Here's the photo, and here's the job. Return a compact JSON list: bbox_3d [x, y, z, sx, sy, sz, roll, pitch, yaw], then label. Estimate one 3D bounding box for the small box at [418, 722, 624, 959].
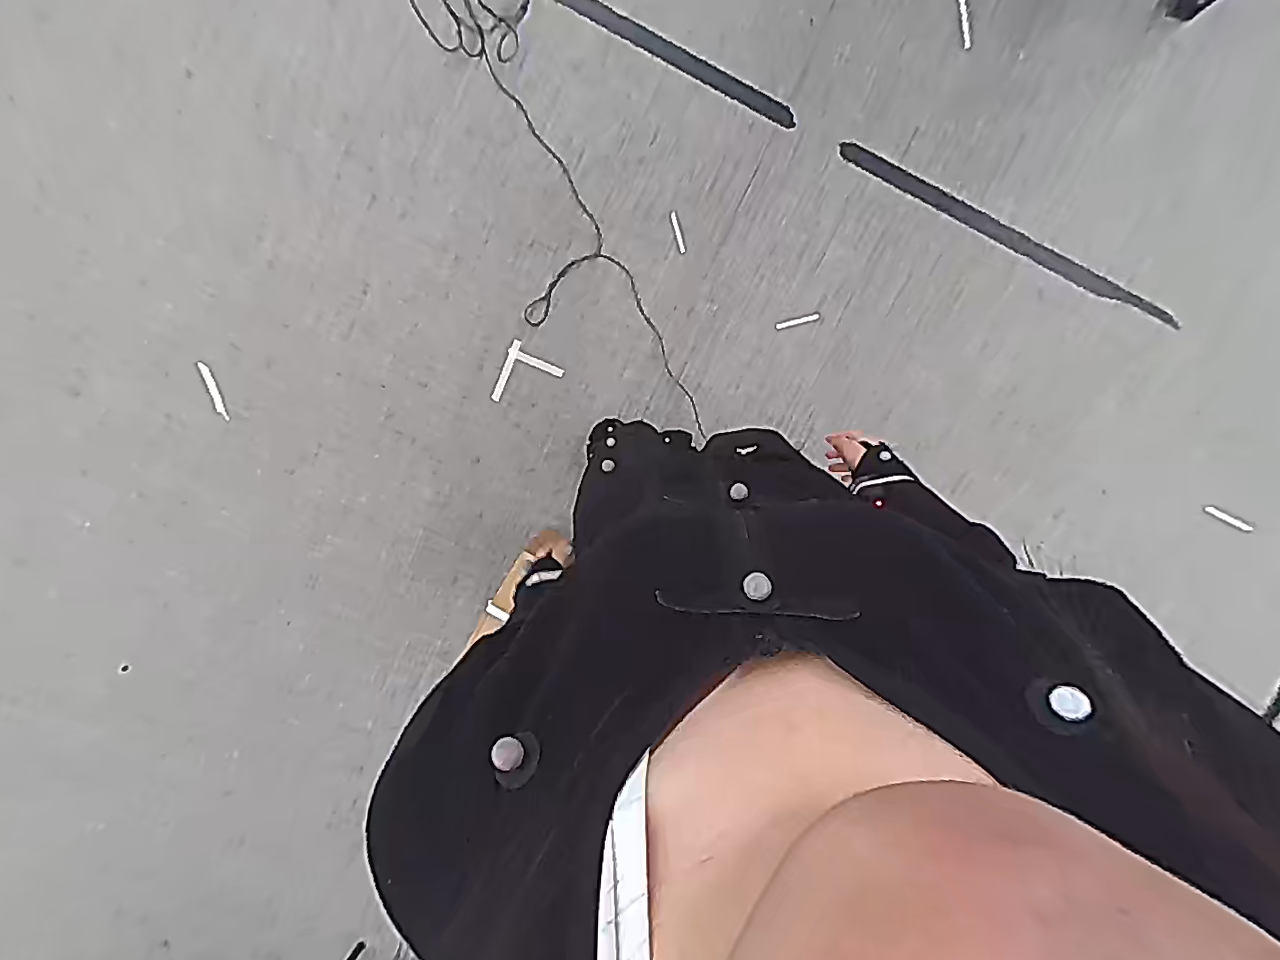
[{"bbox_3d":[-0.130,0.434,0.655,0.168,0.176,0.179,27,96,-3],"label":"small box"}]
